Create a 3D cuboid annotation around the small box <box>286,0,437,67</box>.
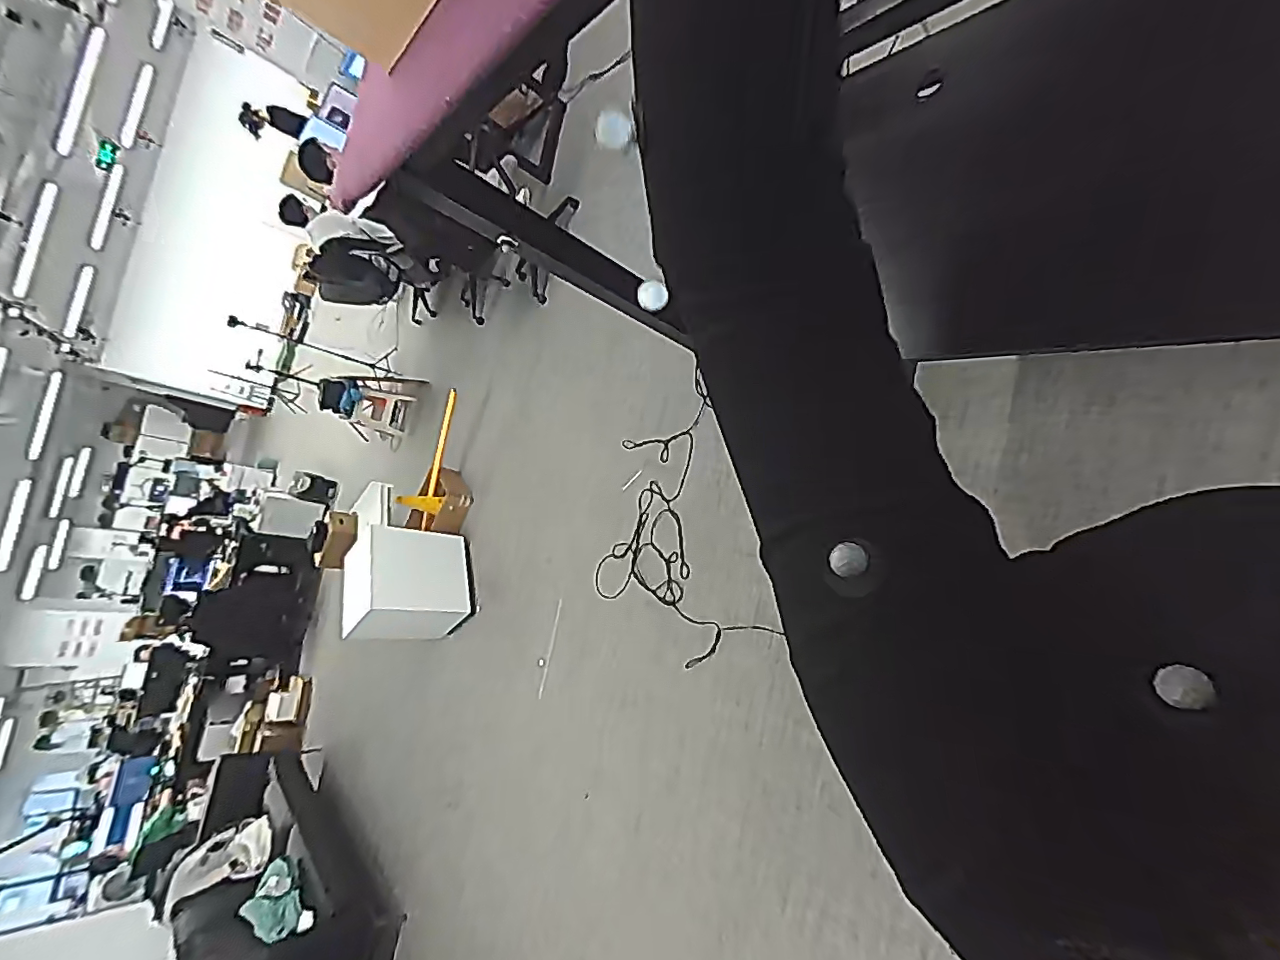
[{"bbox_3d":[-0.257,-0.519,0.470,0.179,0.176,0.168,7,85,48],"label":"small box"}]
